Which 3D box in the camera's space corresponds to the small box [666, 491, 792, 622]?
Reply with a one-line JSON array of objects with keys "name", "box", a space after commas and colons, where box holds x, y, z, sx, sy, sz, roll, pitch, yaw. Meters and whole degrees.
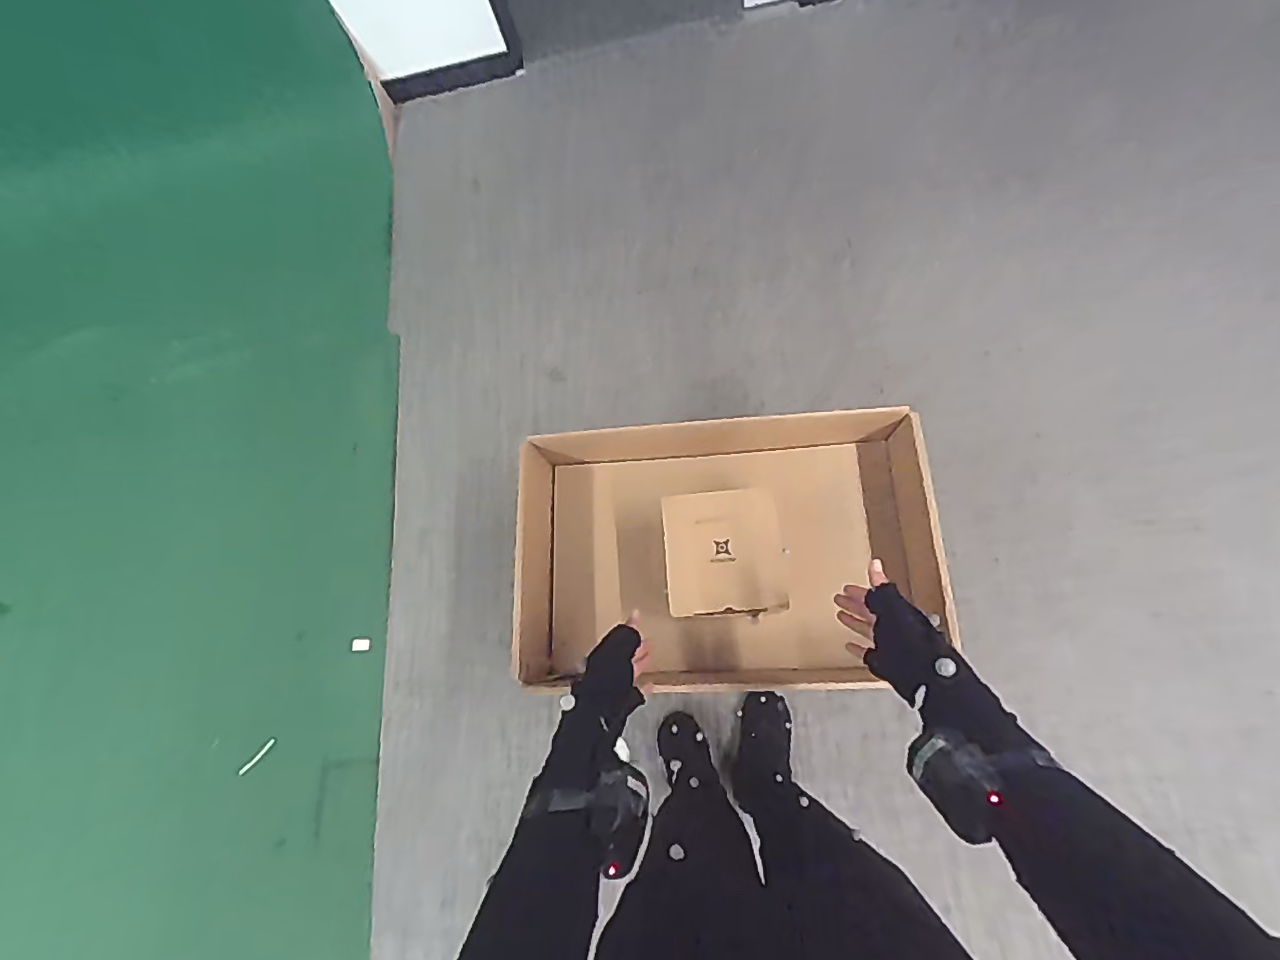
[{"name": "small box", "box": [0.135, 0.128, 0.842, 0.168, 0.176, 0.179, -6, 72, 7]}]
